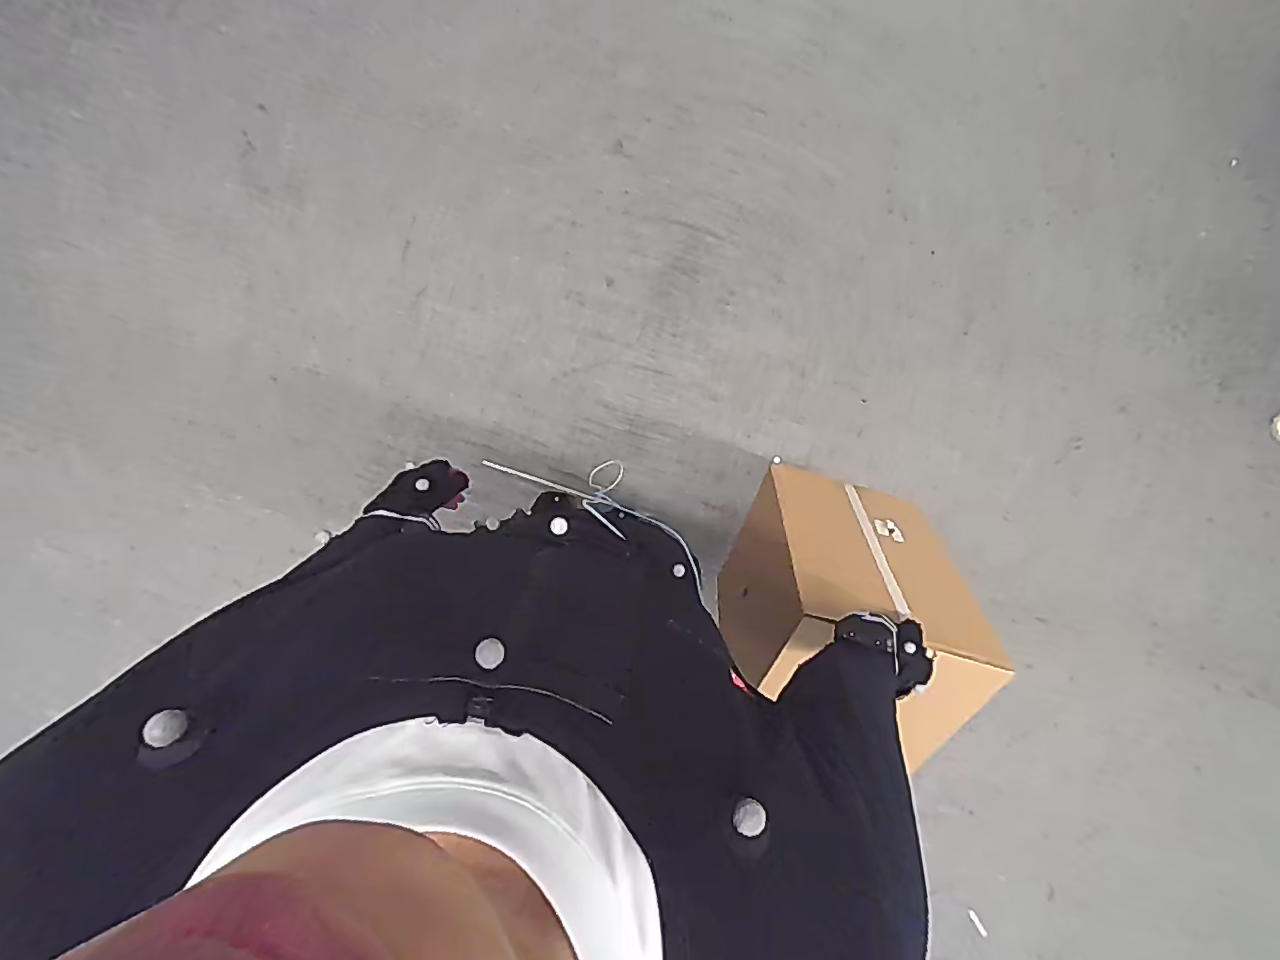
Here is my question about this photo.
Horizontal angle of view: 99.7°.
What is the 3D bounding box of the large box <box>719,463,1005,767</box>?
[{"bbox_3d":[0.345,0.230,0.990,0.320,0.408,0.320,16,122,-4],"label":"large box"}]
